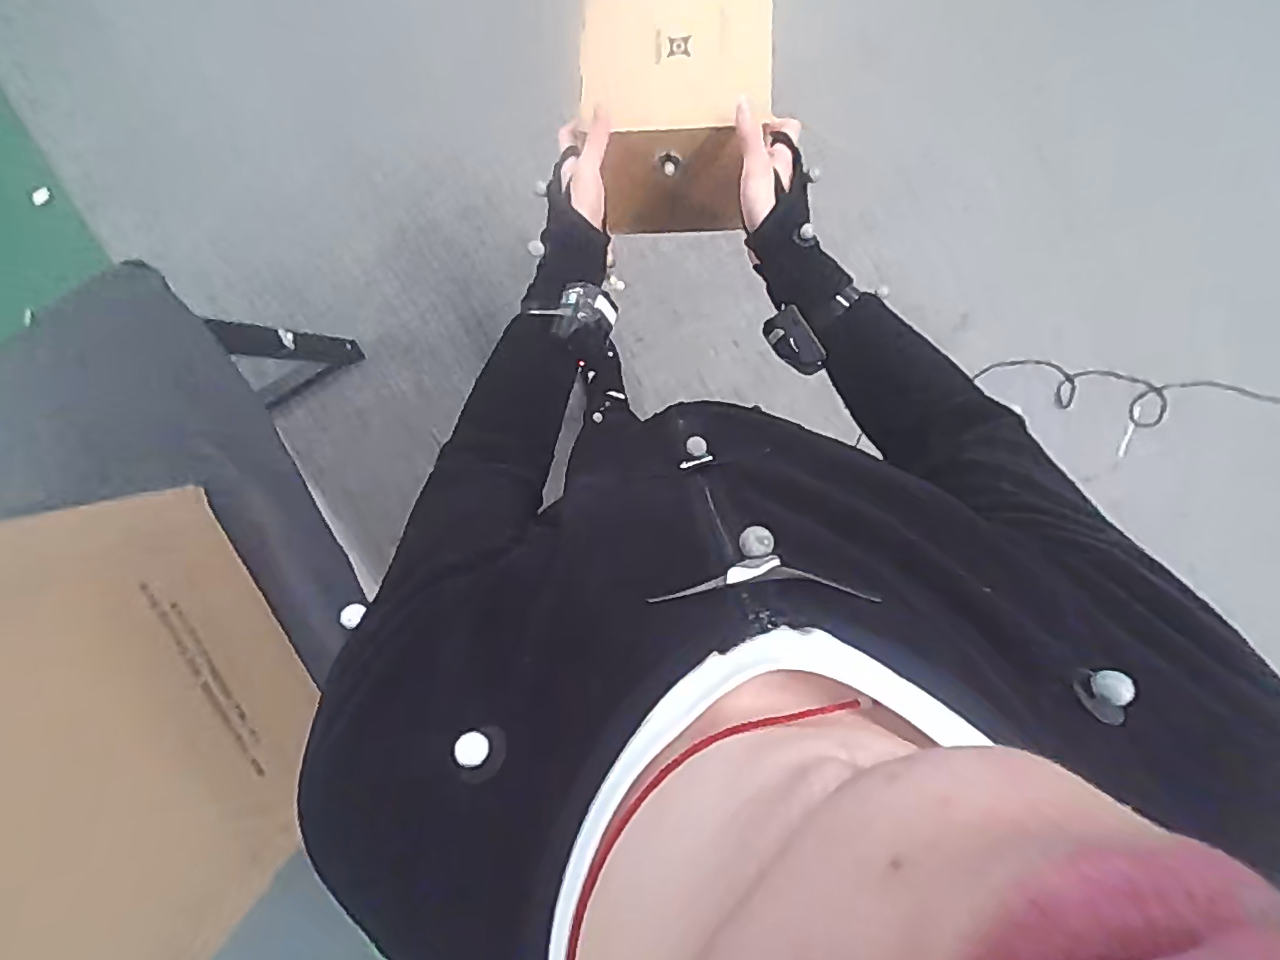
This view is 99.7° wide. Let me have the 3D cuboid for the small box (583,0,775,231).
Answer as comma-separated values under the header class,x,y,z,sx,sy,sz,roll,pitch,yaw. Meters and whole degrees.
class,x,y,z,sx,sy,sz,roll,pitch,yaw
small box,0.043,-0.386,0.576,0.179,0.176,0.168,0,84,4
